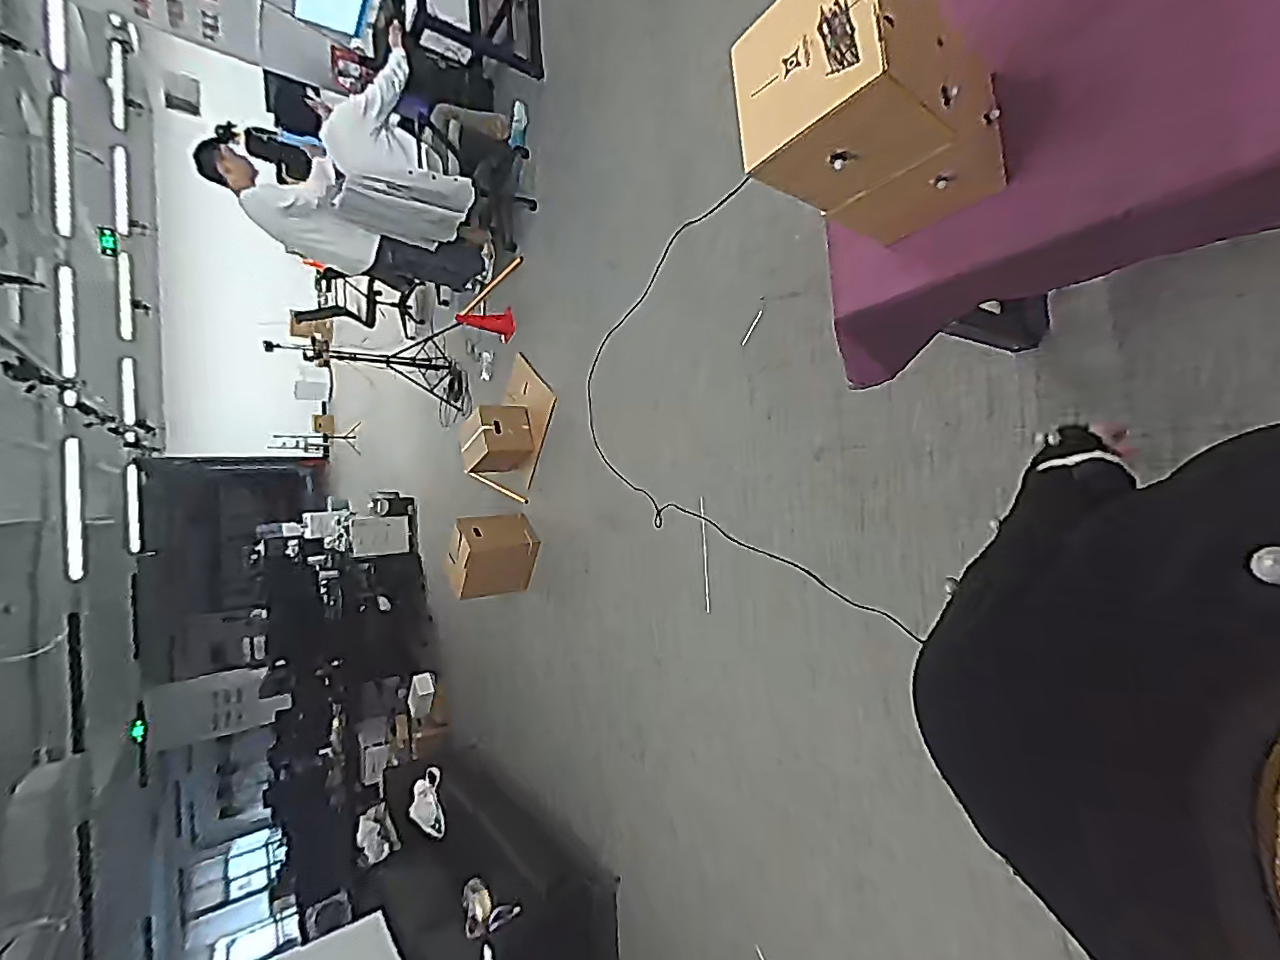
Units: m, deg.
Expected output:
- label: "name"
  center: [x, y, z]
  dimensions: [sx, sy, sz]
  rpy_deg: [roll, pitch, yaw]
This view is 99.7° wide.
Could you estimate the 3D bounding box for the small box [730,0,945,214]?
- label: "small box"
  center: [0.233, -0.448, 0.634]
  dimensions: [0.179, 0.176, 0.168]
  rpy_deg: [-11, 82, 52]
